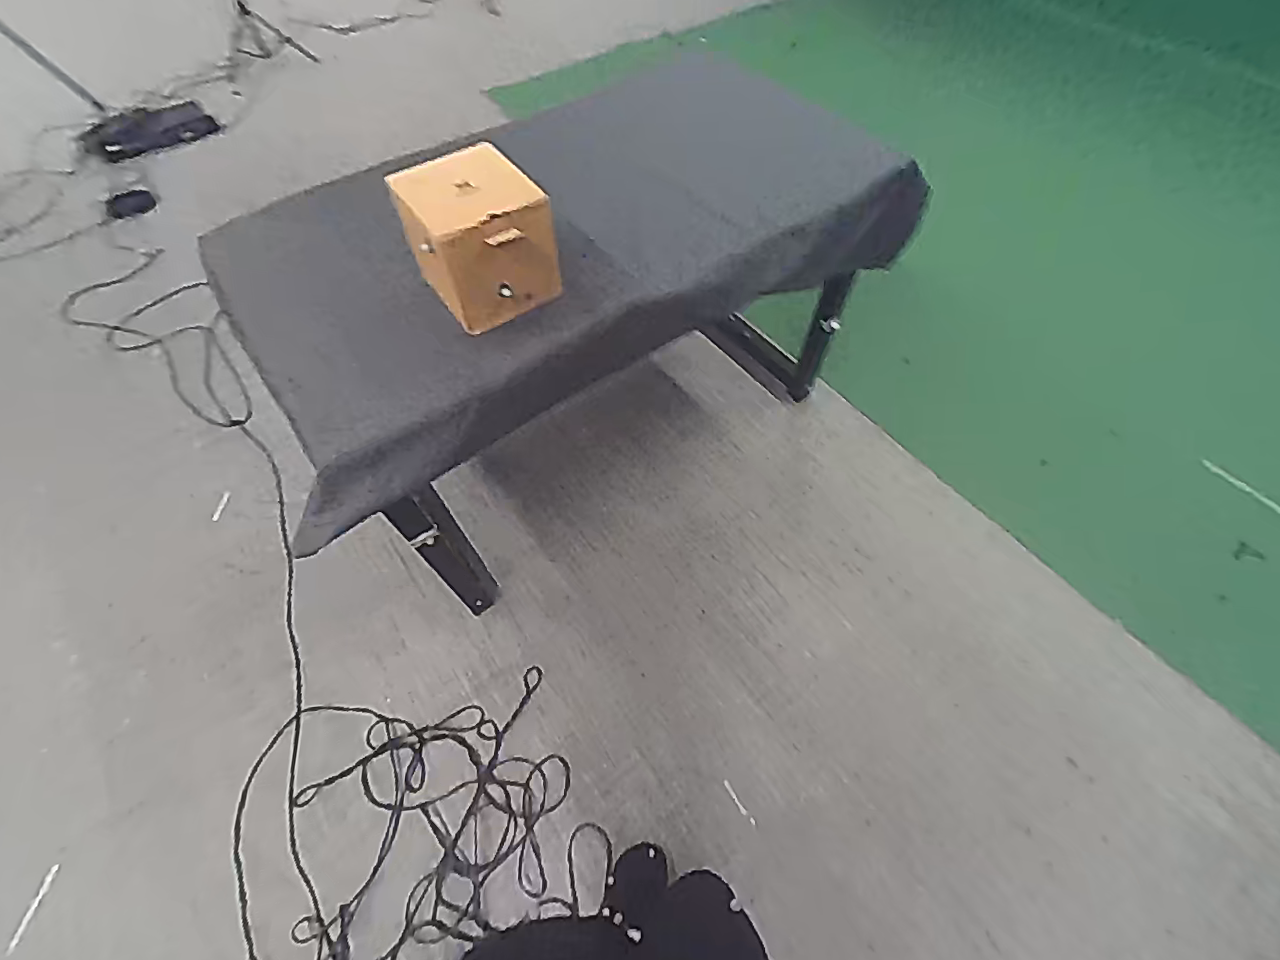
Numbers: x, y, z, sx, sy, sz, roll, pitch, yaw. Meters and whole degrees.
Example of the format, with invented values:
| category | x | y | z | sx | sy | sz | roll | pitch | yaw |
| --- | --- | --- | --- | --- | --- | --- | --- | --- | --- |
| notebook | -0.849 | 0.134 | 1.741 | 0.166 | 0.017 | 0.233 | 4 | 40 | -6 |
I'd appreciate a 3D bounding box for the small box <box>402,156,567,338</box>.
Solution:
| category | x | y | z | sx | sy | sz | roll | pitch | yaw |
| --- | --- | --- | --- | --- | --- | --- | --- | --- | --- |
| small box | -0.228 | -0.351 | 0.826 | 0.168 | 0.176 | 0.179 | -31 | 64 | -19 |
